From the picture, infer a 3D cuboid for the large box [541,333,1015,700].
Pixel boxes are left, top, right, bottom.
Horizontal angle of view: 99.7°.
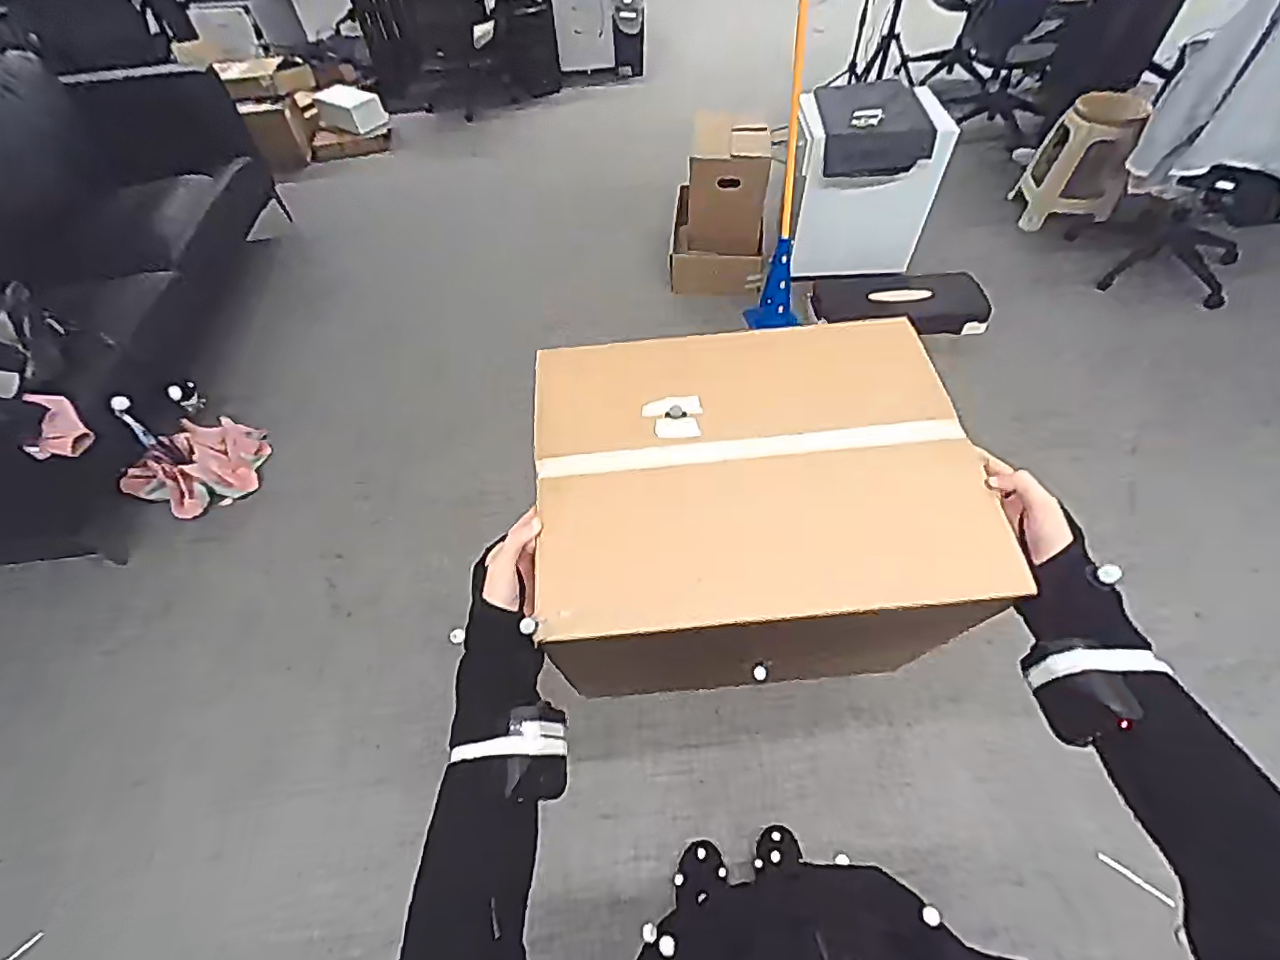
[{"bbox_3d":[0.113,0.064,0.649,0.408,0.320,0.320,-6,59,0],"label":"large box"}]
